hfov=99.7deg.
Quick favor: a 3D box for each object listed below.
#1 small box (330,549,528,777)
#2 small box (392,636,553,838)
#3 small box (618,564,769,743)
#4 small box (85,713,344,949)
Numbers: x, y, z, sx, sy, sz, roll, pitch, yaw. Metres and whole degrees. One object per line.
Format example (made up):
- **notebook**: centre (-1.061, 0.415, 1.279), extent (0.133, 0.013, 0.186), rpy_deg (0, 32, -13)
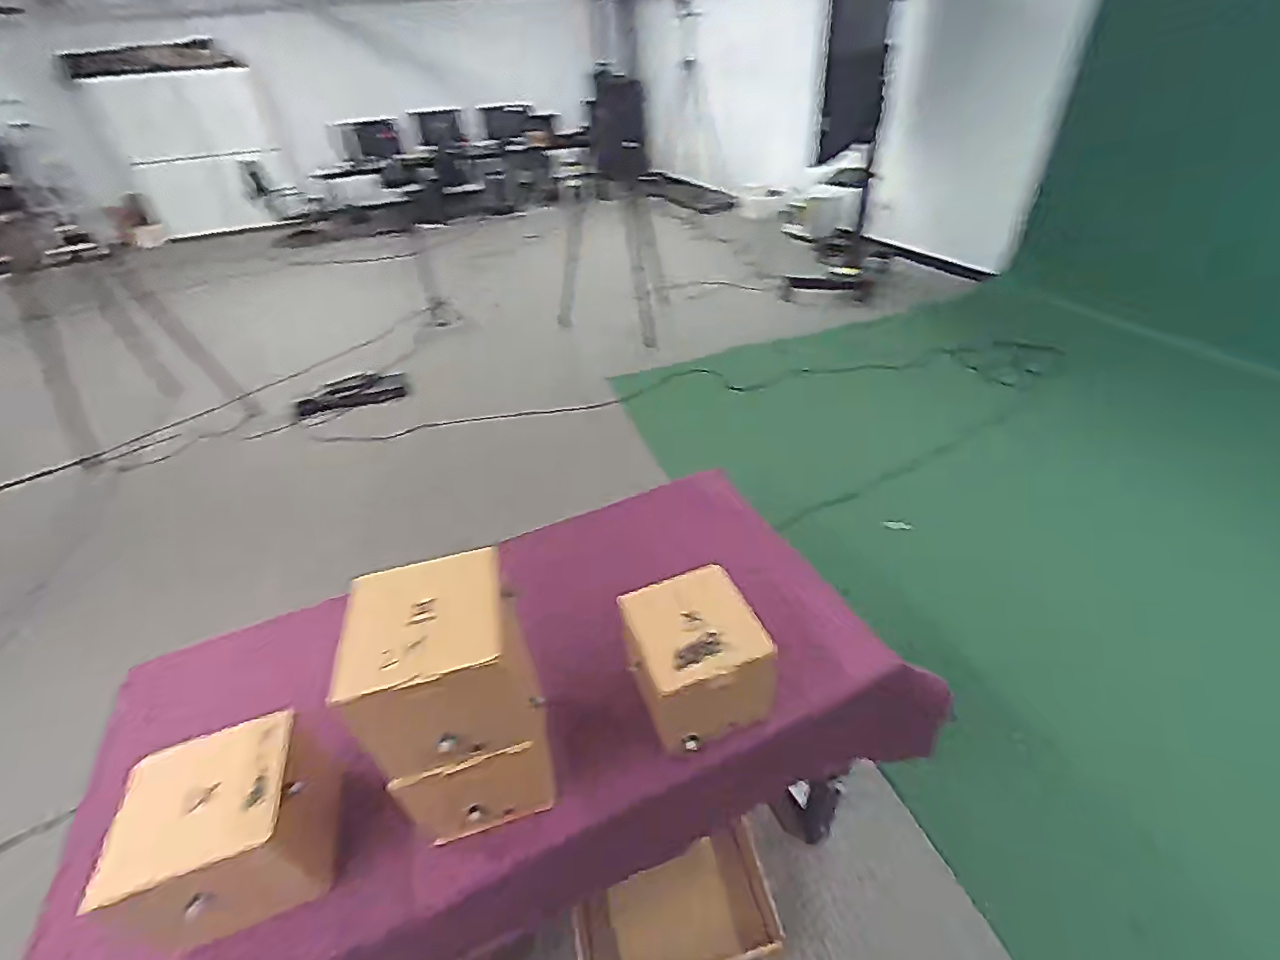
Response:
- **small box**: centre (-0.238, 0.216, 0.652), extent (0.168, 0.176, 0.179), rpy_deg (-13, 39, -8)
- **small box**: centre (-0.224, 0.350, 0.747), extent (0.168, 0.176, 0.179), rpy_deg (-14, 39, -10)
- **small box**: centre (0.078, 0.264, 0.814), extent (0.168, 0.176, 0.179), rpy_deg (-17, 38, -13)
- **small box**: centre (-0.499, 0.434, 0.672), extent (0.179, 0.176, 0.168), rpy_deg (-17, 40, -13)
